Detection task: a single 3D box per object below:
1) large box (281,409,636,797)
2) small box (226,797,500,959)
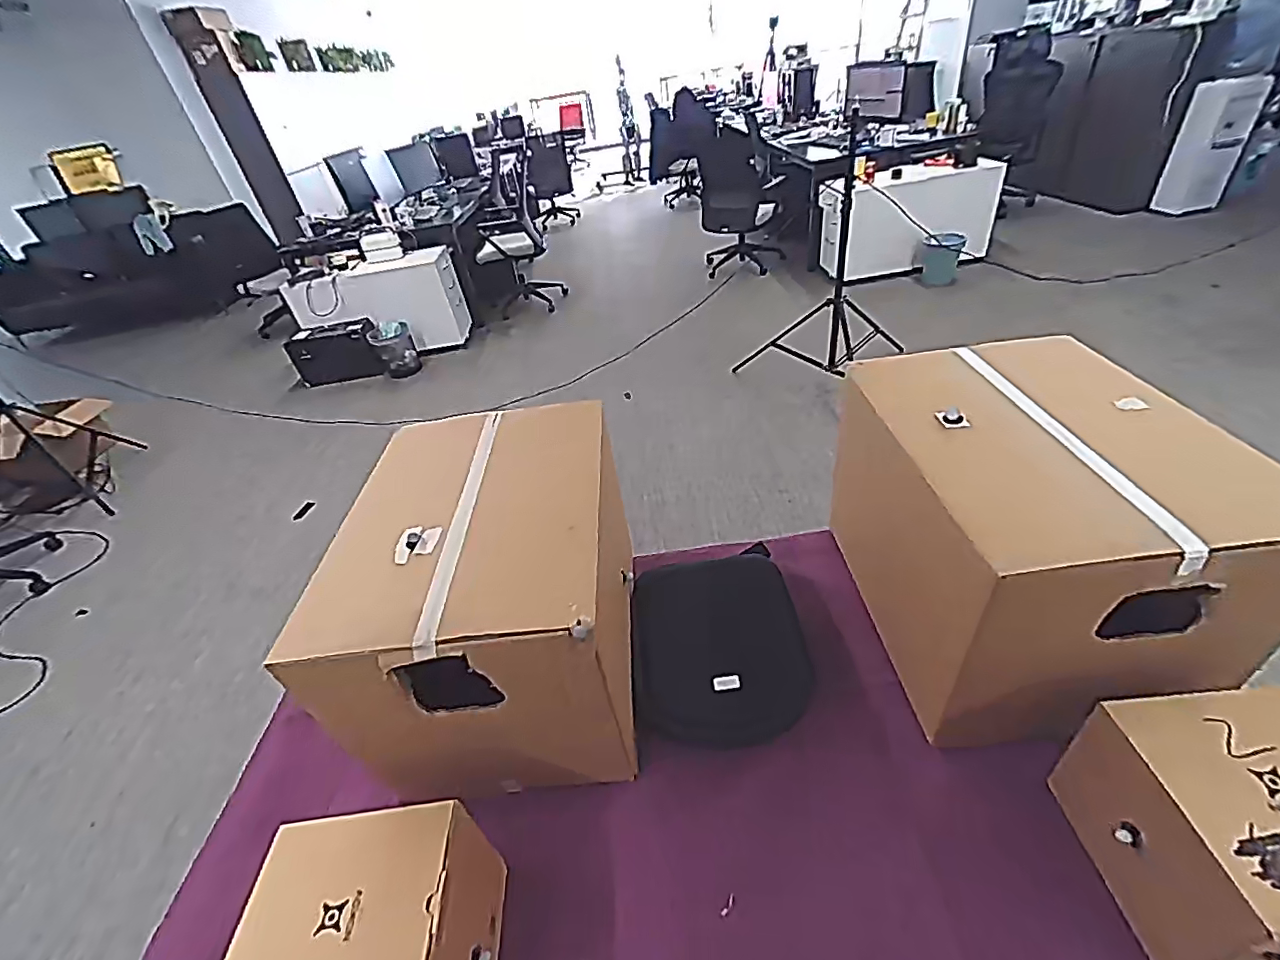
[{"bbox_3d":[-0.183,0.153,0.746,0.320,0.320,0.408,-8,40,3],"label":"large box"},{"bbox_3d":[-0.249,0.435,0.512,0.179,0.176,0.168,-9,36,0],"label":"small box"}]
